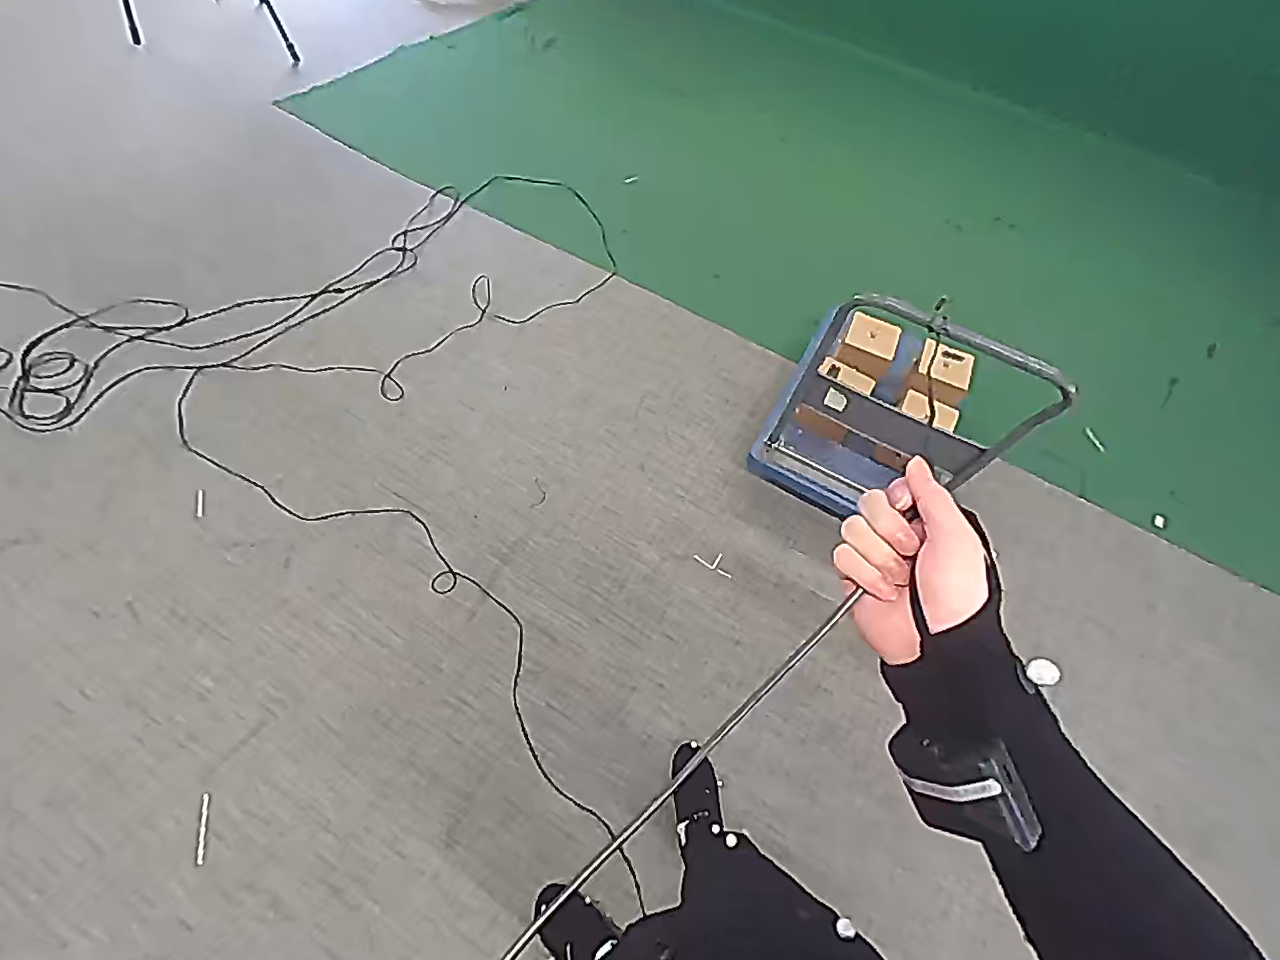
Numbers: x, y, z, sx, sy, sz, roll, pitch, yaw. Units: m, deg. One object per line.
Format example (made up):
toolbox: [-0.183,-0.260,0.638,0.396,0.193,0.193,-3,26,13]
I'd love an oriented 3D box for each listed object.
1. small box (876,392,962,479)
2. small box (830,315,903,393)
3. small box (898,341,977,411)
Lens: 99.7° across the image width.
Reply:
small box: [0.877,-0.138,1.711,0.168,0.176,0.179,29,61,12]
small box: [0.784,-0.435,1.884,0.168,0.176,0.179,25,59,9]
small box: [1.010,-0.332,1.844,0.168,0.176,0.179,24,60,10]
